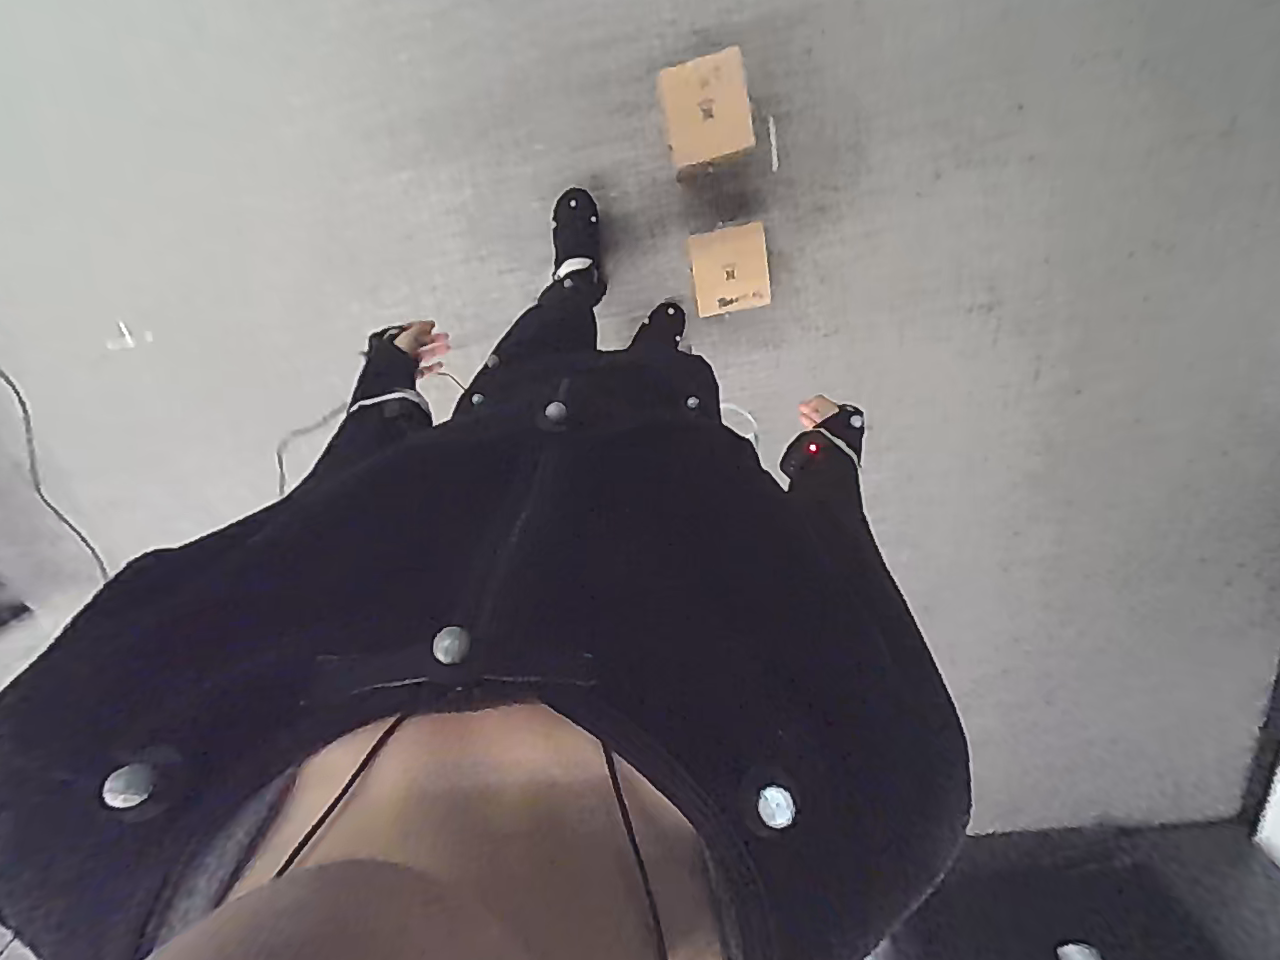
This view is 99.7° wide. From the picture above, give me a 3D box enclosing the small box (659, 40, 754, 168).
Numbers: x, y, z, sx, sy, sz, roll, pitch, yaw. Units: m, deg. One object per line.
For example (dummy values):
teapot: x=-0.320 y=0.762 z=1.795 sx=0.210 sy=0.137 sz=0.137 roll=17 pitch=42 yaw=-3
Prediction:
small box: x=0.140 y=-0.782 z=1.149 sx=0.168 sy=0.176 sz=0.179 roll=-12 pitch=111 yaw=7
